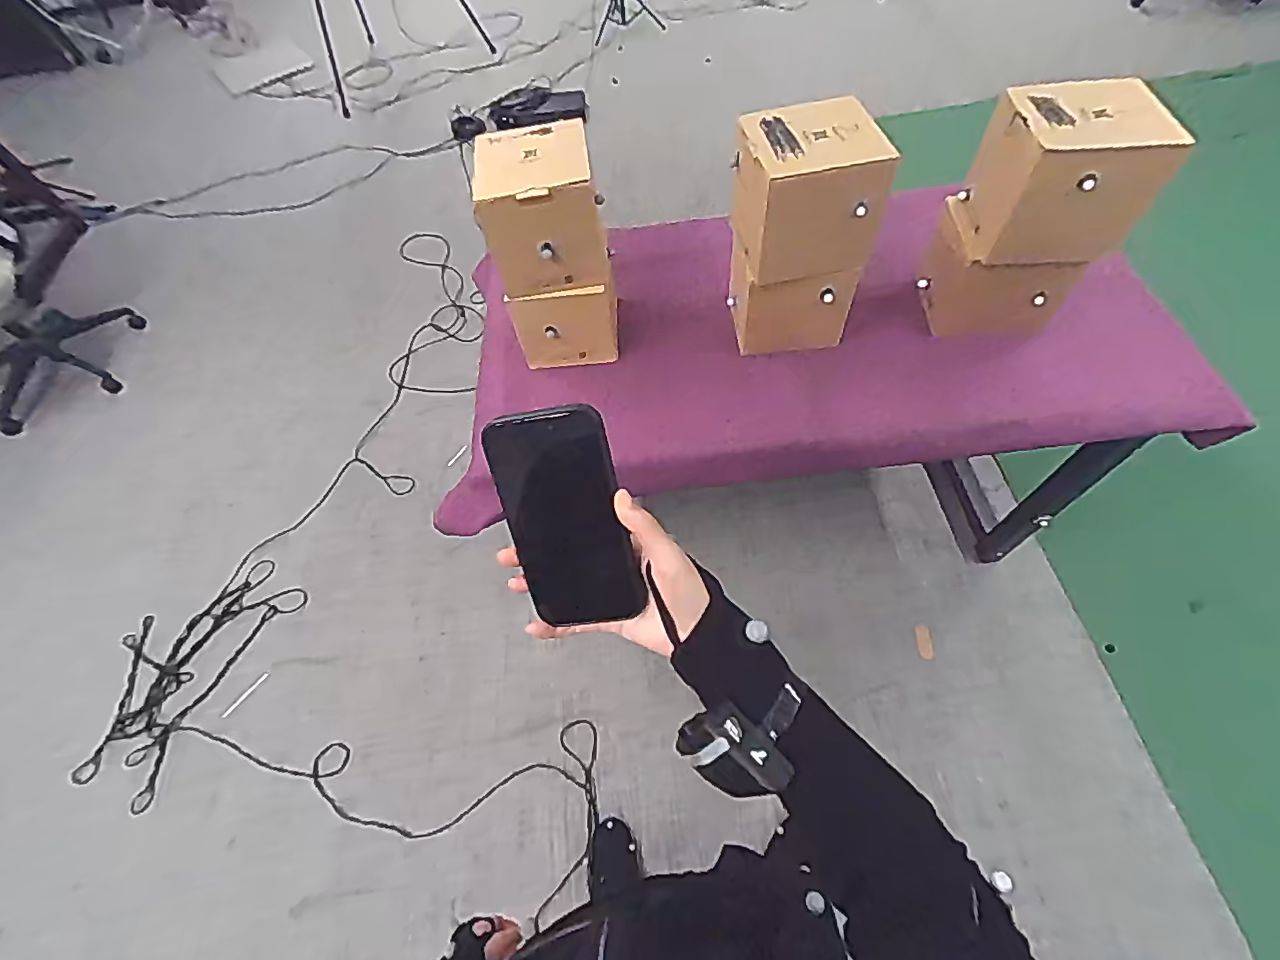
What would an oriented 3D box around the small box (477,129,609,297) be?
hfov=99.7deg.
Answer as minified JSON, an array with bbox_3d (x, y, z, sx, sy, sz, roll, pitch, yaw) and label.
[{"bbox_3d":[-0.145,-0.406,0.845,0.168,0.176,0.179,-9,59,0],"label":"small box"}]

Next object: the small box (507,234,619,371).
[{"bbox_3d":[-0.129,-0.313,0.980,0.168,0.176,0.179,-4,58,4],"label":"small box"}]

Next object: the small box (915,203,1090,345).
[{"bbox_3d":[0.599,-0.346,0.920,0.179,0.176,0.168,0,58,7],"label":"small box"}]

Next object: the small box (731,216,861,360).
[{"bbox_3d":[0.260,-0.330,0.946,0.179,0.176,0.168,-5,58,3],"label":"small box"}]

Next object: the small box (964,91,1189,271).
[{"bbox_3d":[0.594,-0.419,0.773,0.179,0.176,0.168,0,58,6],"label":"small box"}]
